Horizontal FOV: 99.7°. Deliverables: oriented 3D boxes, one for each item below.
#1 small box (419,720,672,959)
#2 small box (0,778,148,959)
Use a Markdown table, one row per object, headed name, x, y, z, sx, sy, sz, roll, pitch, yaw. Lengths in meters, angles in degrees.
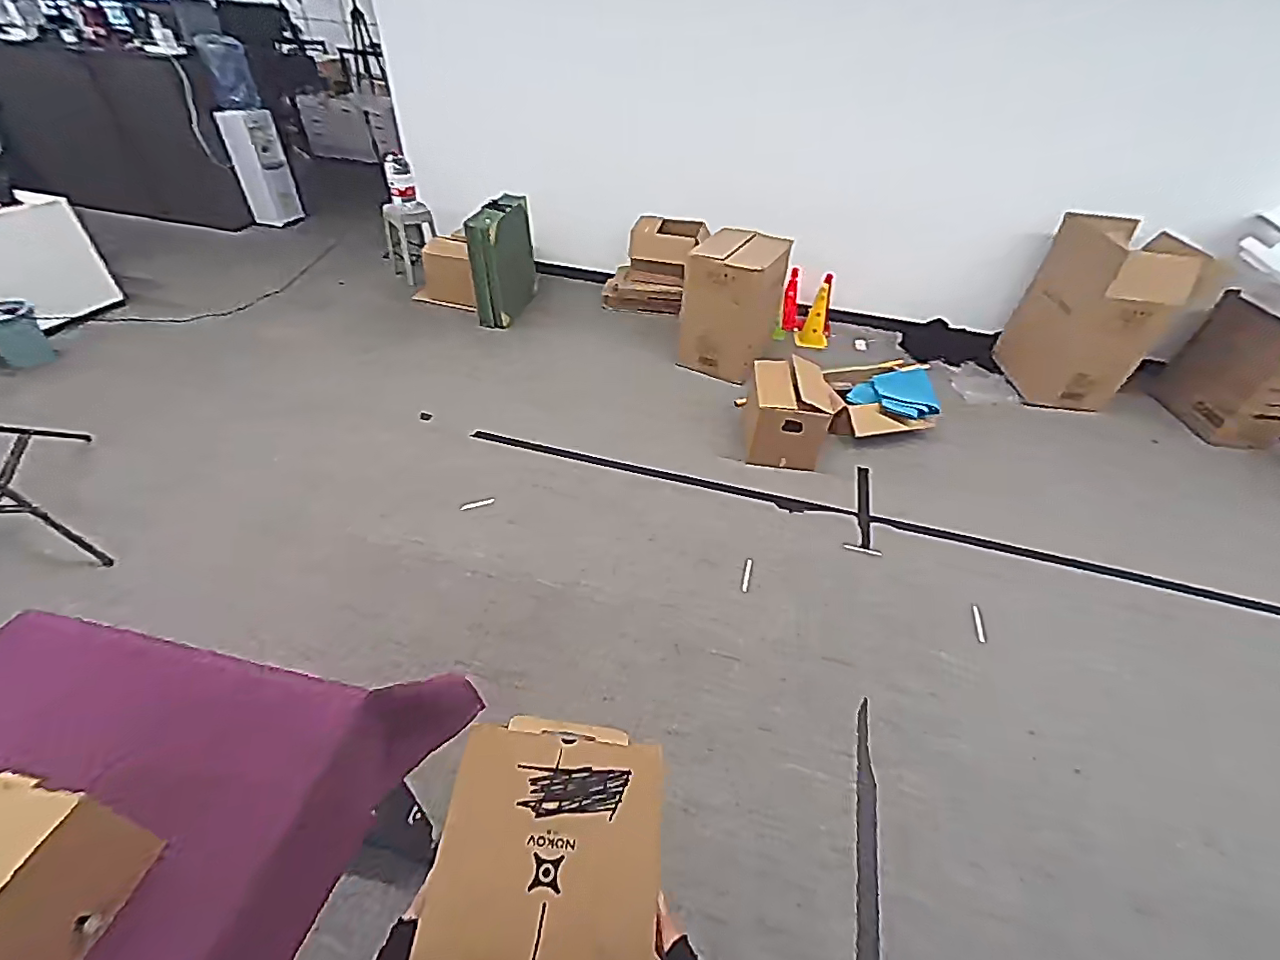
| name | x | y | z | sx | sy | sz | roll | pitch | yaw |
| --- | --- | --- | --- | --- | --- | --- | --- | --- | --- |
| small box | -0.073 | 0.330 | 0.459 | 0.168 | 0.176 | 0.179 | 9 | 49 | -4 |
| small box | -0.673 | 0.438 | 0.559 | 0.168 | 0.176 | 0.179 | 8 | 41 | 6 |
